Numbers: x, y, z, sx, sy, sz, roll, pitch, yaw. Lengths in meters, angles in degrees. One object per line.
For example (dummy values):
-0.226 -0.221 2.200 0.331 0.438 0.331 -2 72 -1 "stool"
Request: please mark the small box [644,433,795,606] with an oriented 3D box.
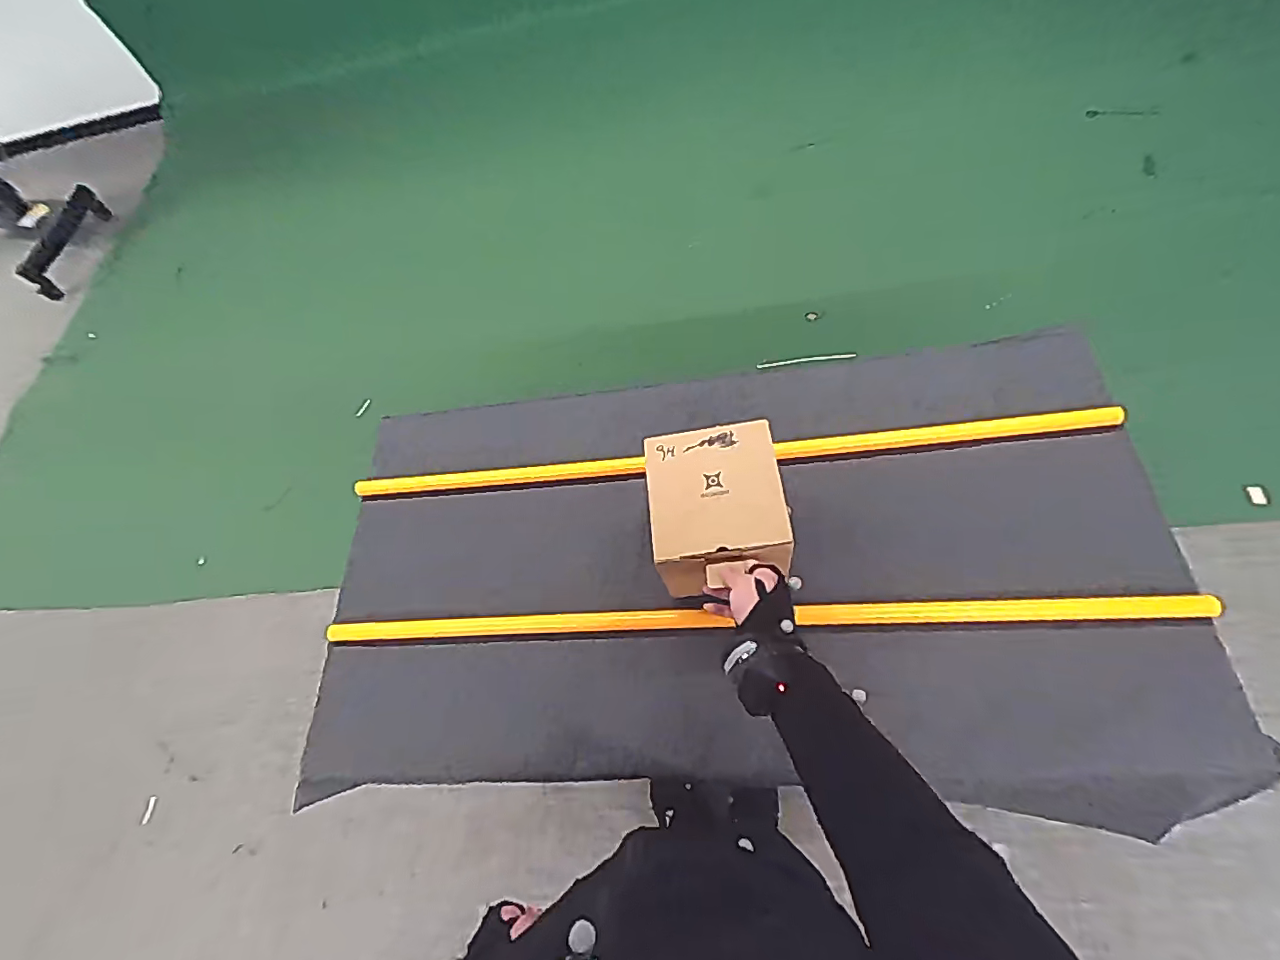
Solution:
0.111 0.065 0.743 0.168 0.176 0.179 -12 60 8 "small box"
